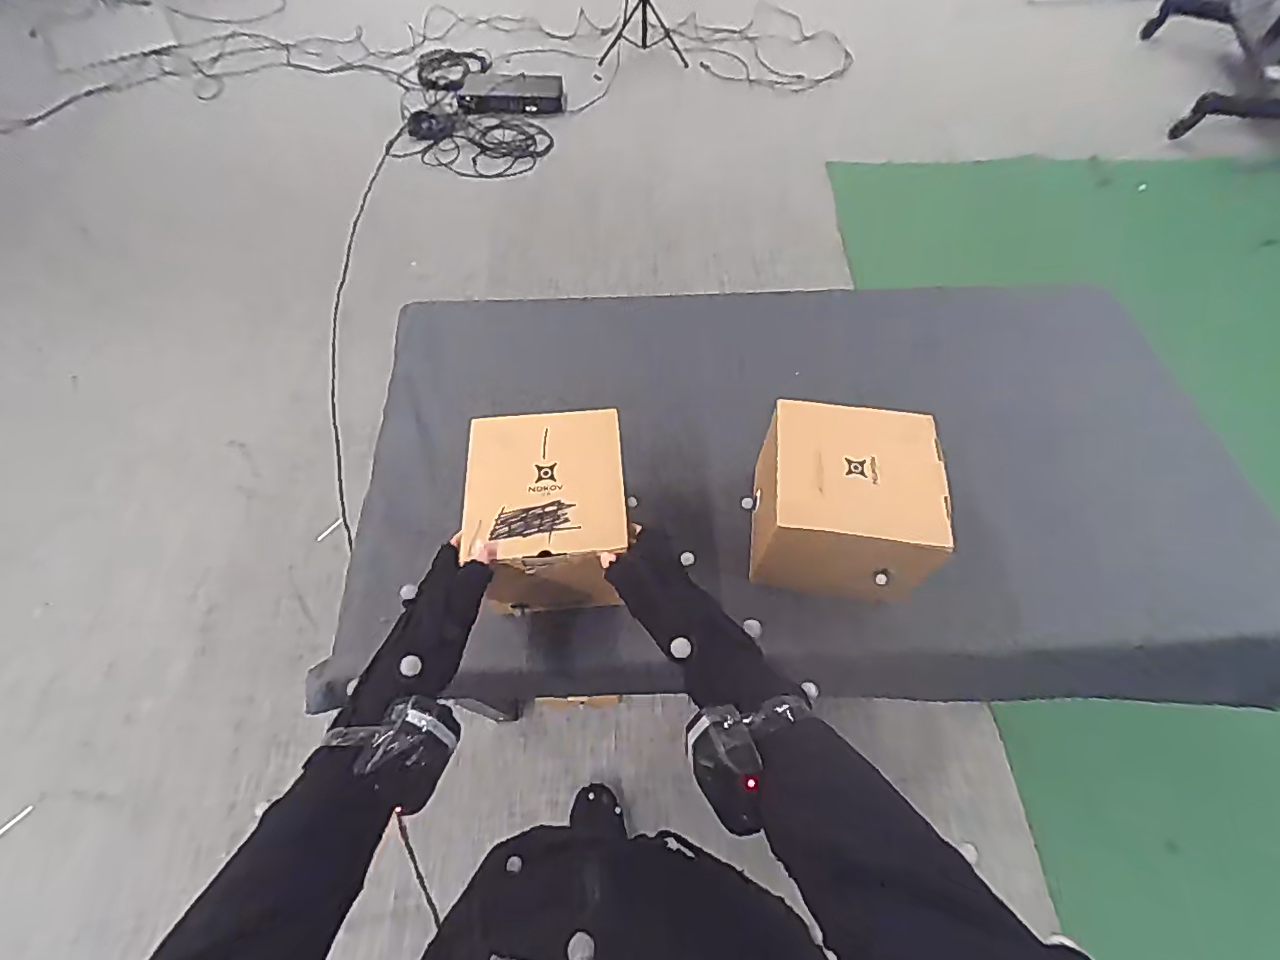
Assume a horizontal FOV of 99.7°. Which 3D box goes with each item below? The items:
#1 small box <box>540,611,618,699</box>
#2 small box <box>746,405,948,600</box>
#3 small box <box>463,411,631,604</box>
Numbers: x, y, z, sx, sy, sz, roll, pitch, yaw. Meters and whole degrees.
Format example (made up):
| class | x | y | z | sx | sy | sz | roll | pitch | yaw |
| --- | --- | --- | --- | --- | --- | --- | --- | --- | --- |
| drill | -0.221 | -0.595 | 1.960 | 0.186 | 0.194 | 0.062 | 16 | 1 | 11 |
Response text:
| class | x | y | z | sx | sy | sz | roll | pitch | yaw |
| --- | --- | --- | --- | --- | --- | --- | --- | --- | --- |
| small box | -0.136 | 0.415 | 1.269 | 0.168 | 0.176 | 0.179 | -2 | 62 | -1 |
| small box | 0.232 | 0.035 | 0.648 | 0.179 | 0.176 | 0.168 | 7 | 60 | 4 |
| small box | -0.097 | 0.041 | 0.640 | 0.168 | 0.176 | 0.179 | -3 | 60 | -2 |
